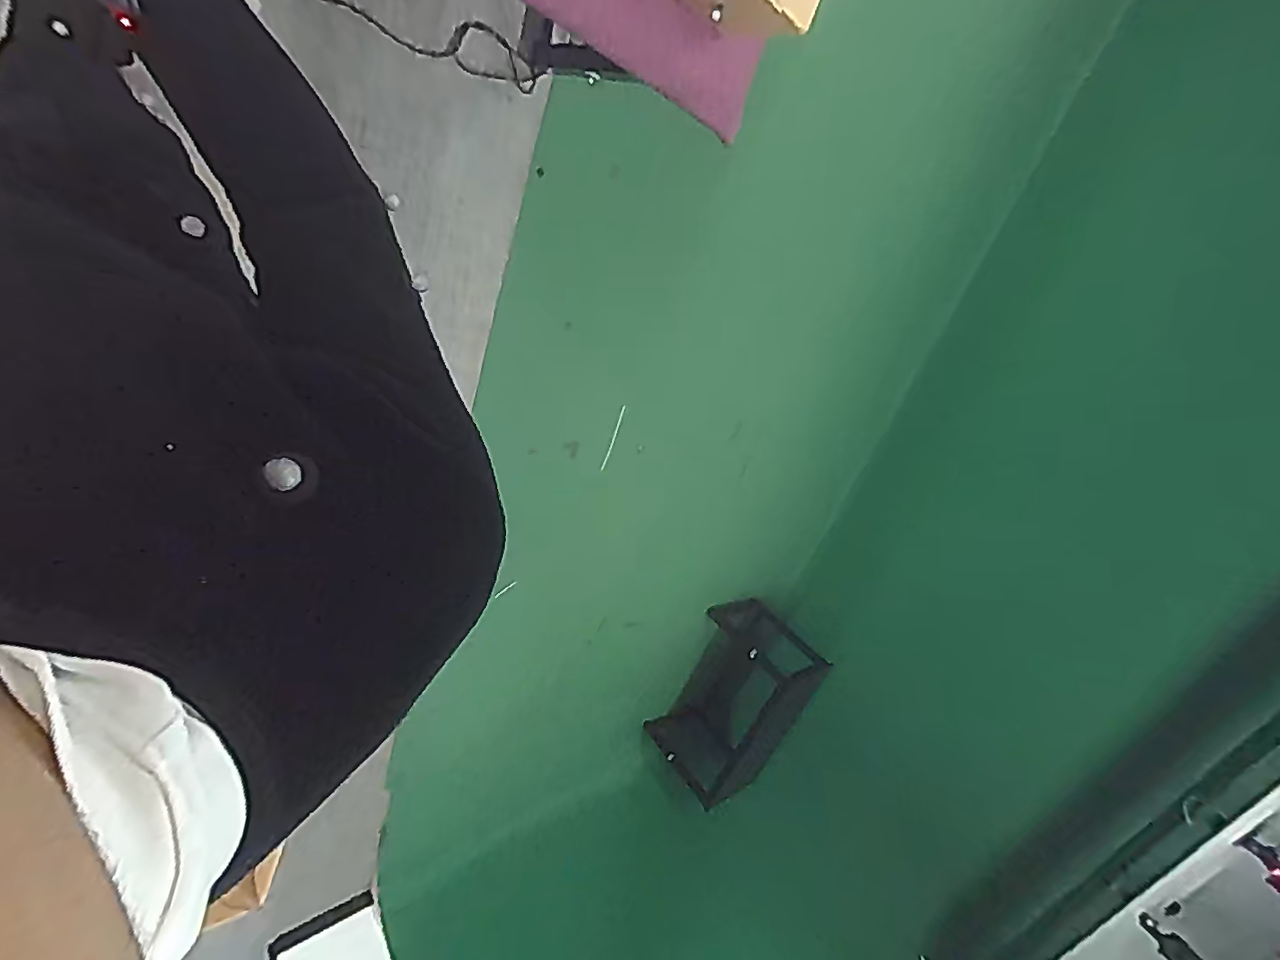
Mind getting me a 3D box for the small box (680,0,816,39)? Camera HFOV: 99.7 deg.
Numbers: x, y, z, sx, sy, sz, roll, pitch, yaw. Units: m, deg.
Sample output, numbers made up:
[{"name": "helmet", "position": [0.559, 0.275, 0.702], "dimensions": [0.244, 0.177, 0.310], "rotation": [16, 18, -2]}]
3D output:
[{"name": "small box", "position": [0.160, -0.769, 0.764], "dimensions": [0.168, 0.176, 0.179], "rotation": [0, 120, -43]}]
